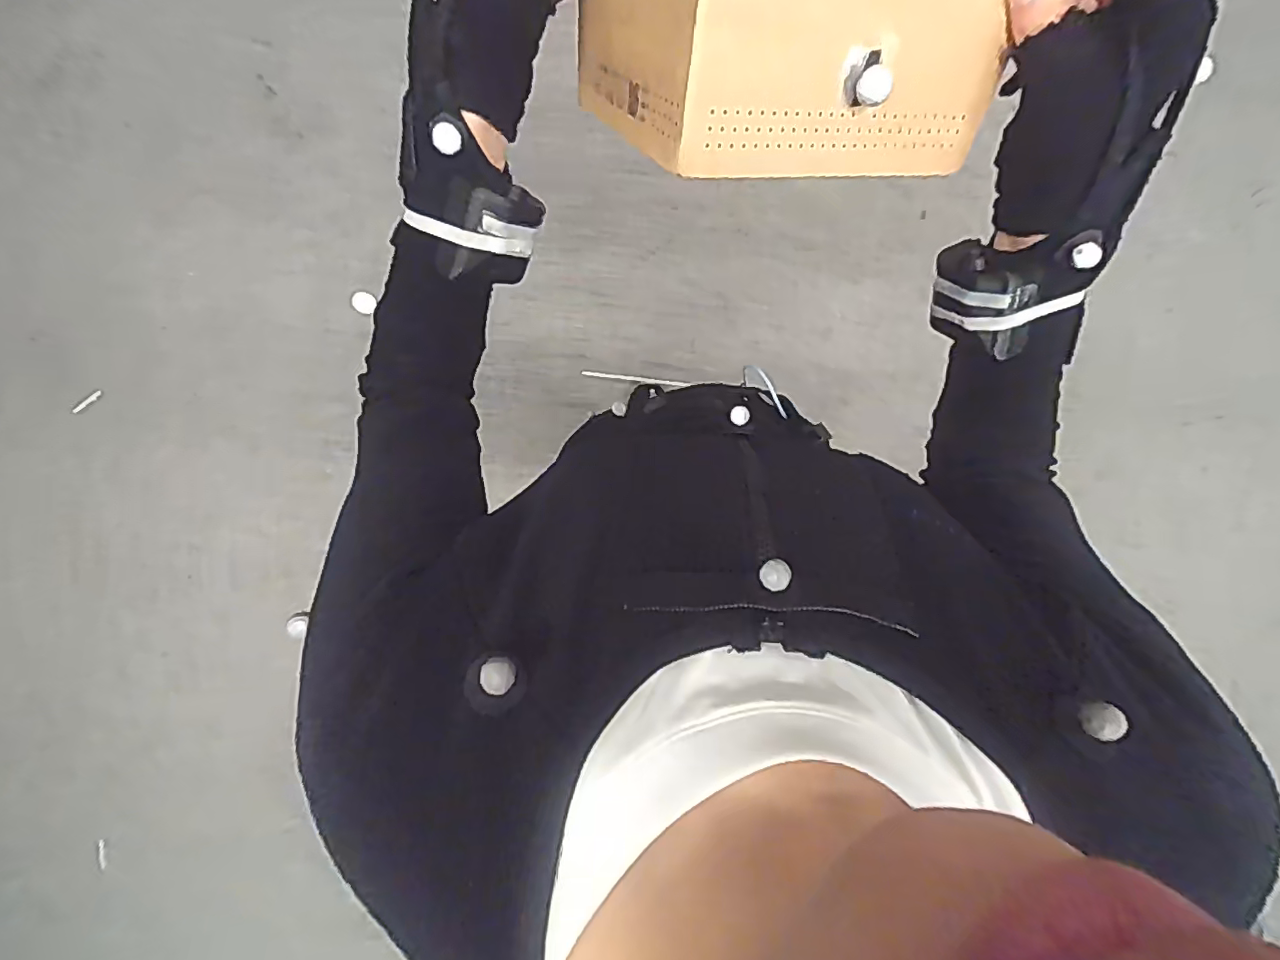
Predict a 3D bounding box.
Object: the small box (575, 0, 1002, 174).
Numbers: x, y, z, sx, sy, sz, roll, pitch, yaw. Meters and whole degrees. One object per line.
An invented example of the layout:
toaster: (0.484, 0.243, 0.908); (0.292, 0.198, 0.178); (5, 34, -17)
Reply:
small box: (0.071, -0.272, 0.280); (0.179, 0.168, 0.176); (-12, 136, -19)
